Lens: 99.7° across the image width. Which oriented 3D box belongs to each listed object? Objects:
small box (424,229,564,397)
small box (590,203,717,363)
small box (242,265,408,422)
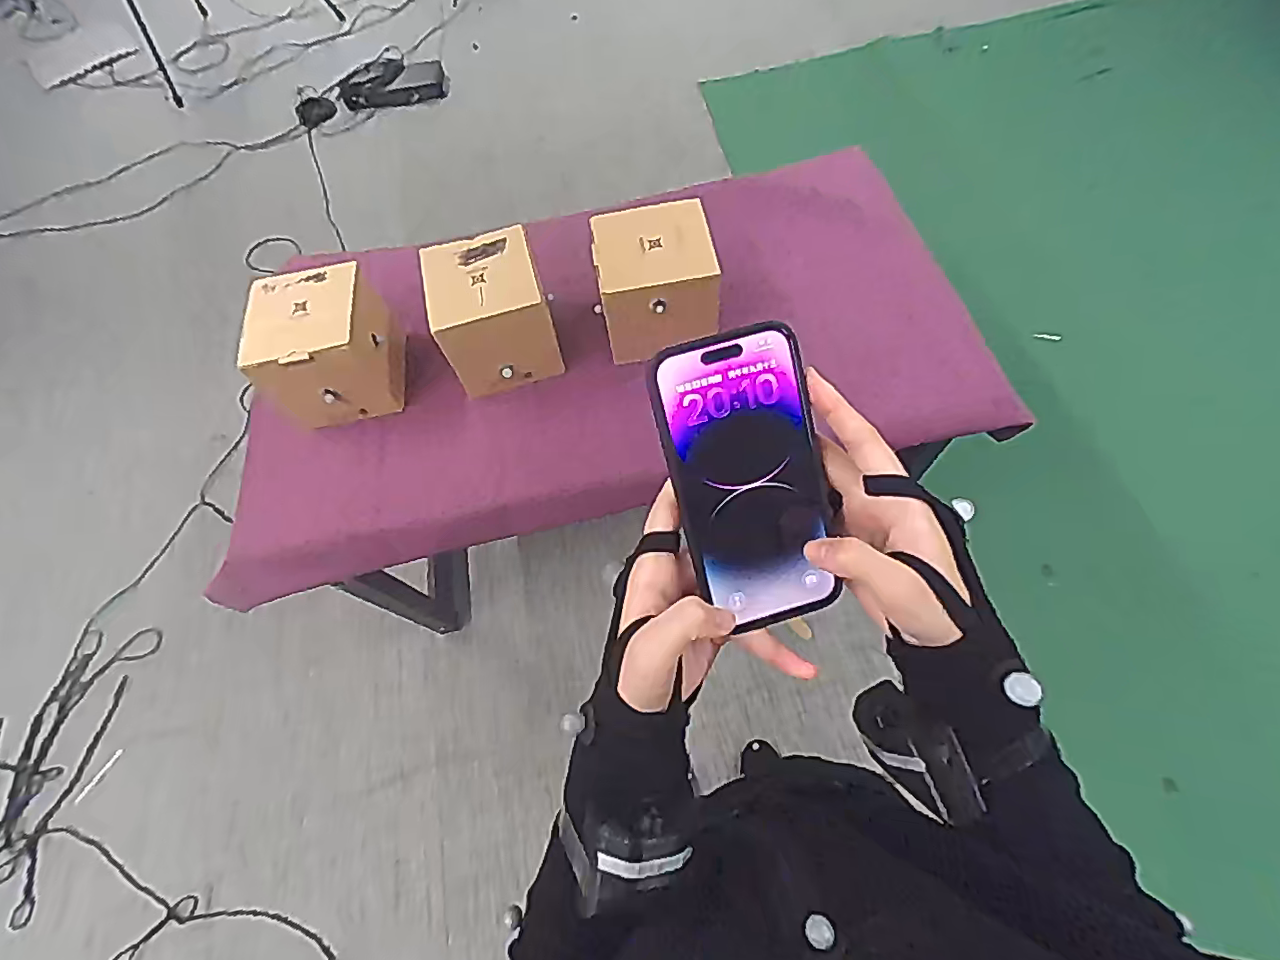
[{"bbox_3d":[-0.232,-0.265,0.879,0.168,0.176,0.179,-16,64,-2],"label":"small box"},{"bbox_3d":[0.024,-0.309,0.876,0.179,0.176,0.168,-9,64,1],"label":"small box"},{"bbox_3d":[-0.494,-0.209,0.877,0.168,0.176,0.179,-11,64,0],"label":"small box"}]
